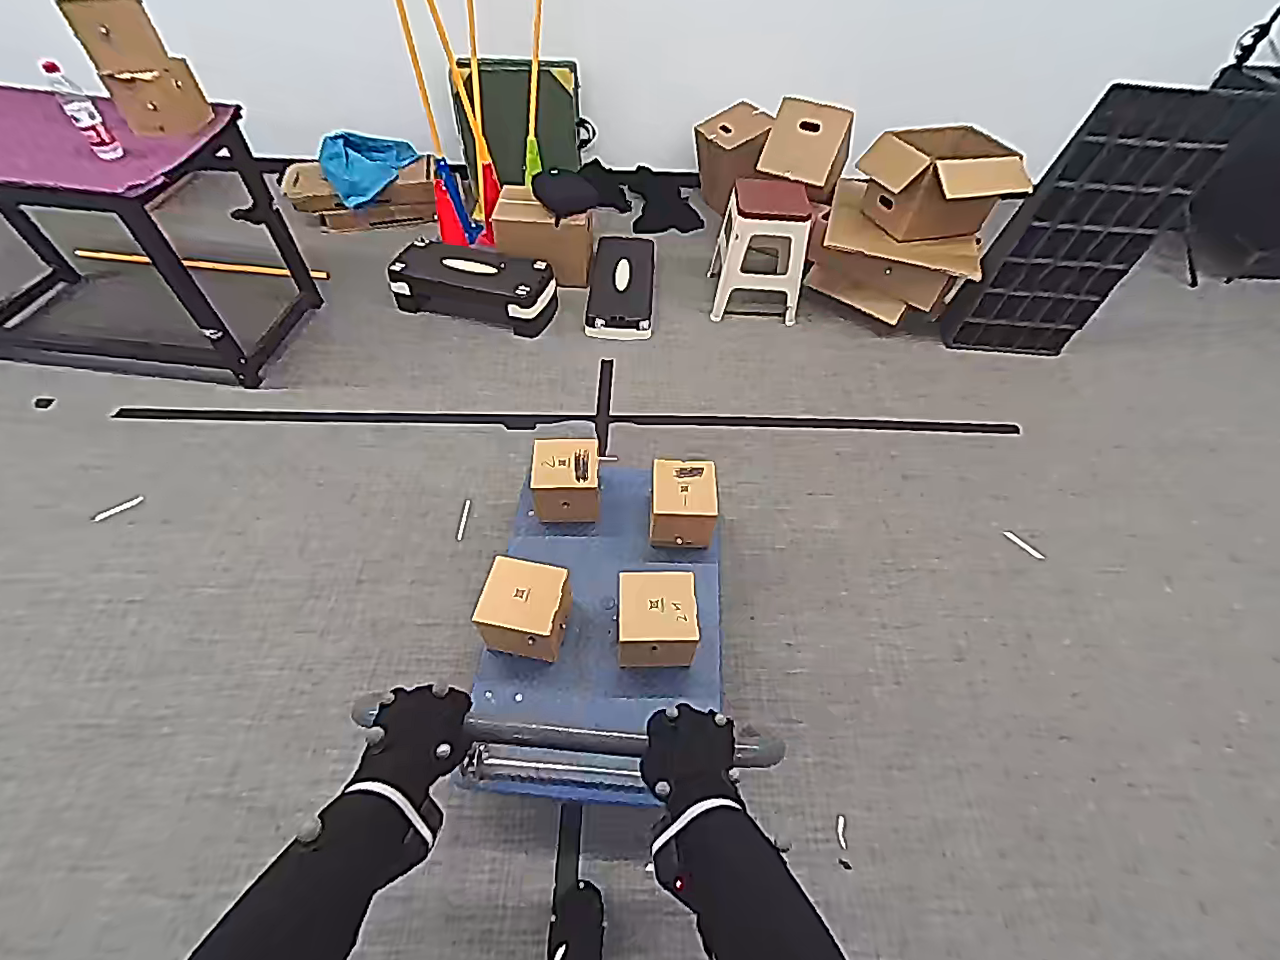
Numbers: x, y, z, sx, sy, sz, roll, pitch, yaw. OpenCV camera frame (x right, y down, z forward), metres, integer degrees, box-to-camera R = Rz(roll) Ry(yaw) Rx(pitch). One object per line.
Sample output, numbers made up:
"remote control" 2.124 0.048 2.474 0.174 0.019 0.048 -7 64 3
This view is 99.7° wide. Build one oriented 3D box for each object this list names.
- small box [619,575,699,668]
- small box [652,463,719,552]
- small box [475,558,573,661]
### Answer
"small box" 0.039 0.338 1.274 0.179 0.176 0.168 1 53 -2
"small box" 0.119 0.076 1.474 0.168 0.176 0.179 2 54 -1
"small box" -0.265 0.310 1.279 0.179 0.176 0.168 11 53 3
